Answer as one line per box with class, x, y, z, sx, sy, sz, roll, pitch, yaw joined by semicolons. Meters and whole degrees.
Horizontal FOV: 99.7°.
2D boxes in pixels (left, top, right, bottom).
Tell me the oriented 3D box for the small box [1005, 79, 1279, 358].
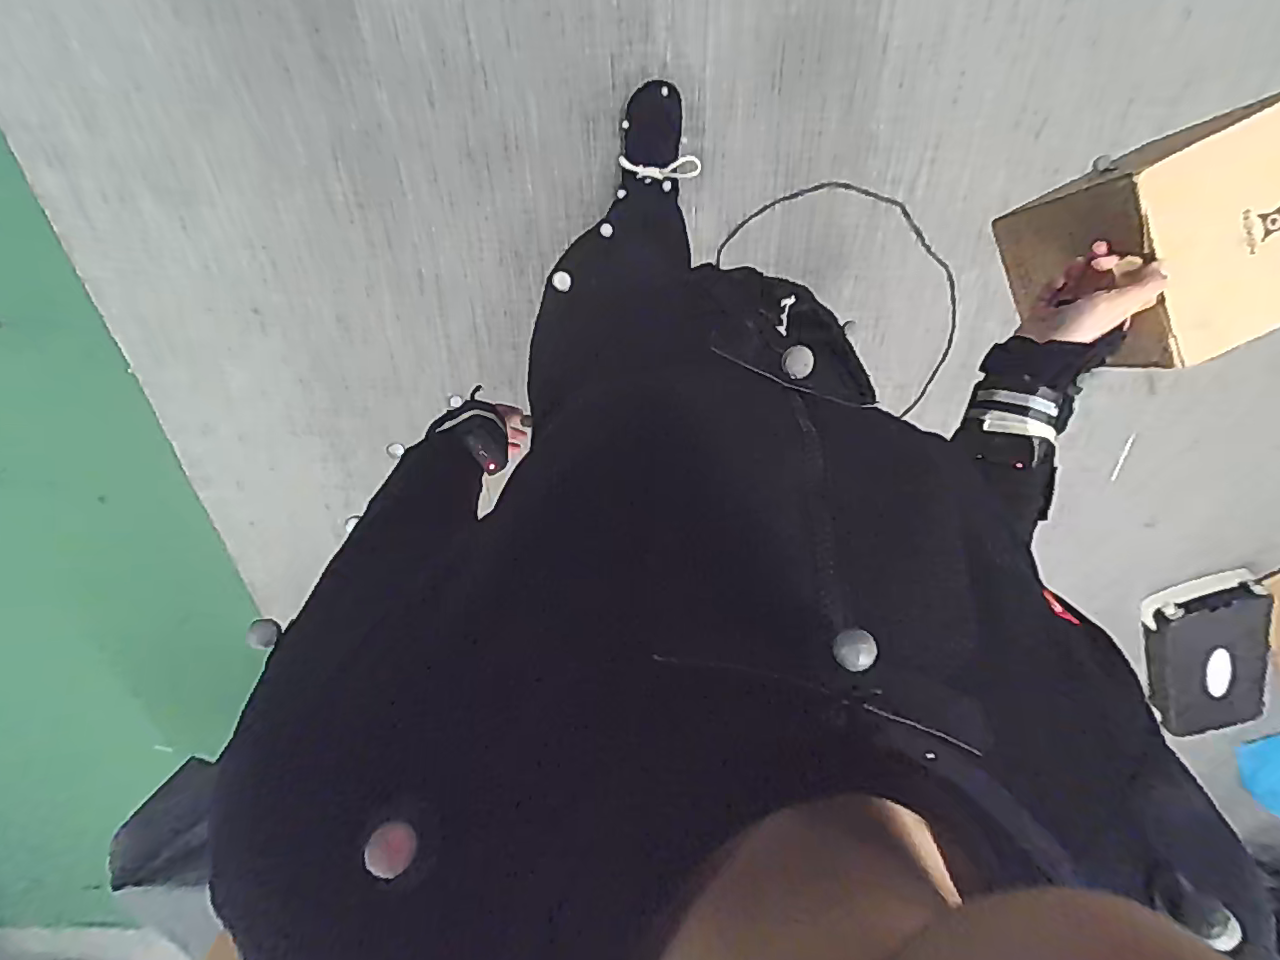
small box;0.474;-0.221;0.490;0.179;0.176;0.168;-27;103;4
